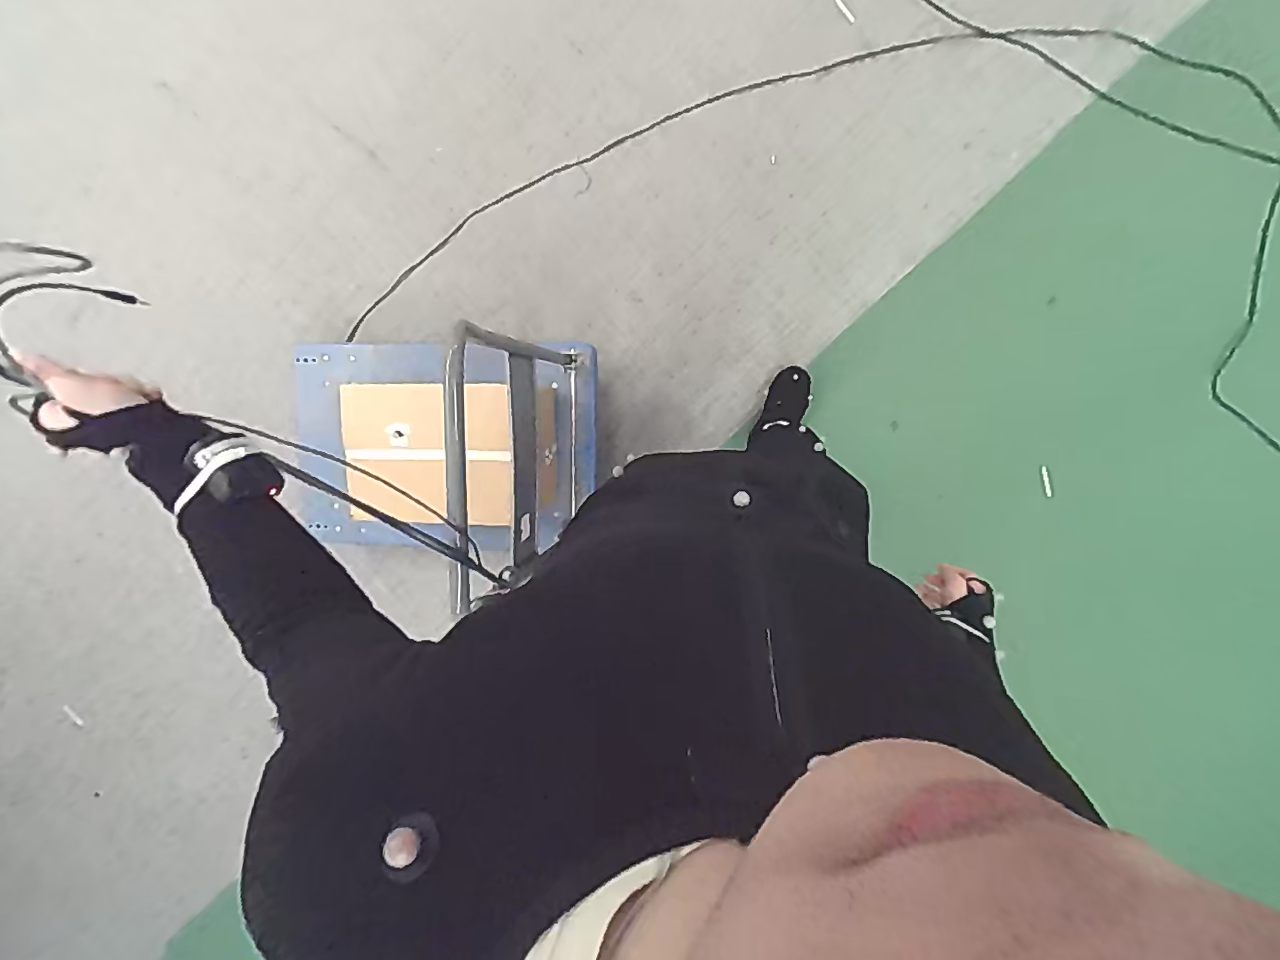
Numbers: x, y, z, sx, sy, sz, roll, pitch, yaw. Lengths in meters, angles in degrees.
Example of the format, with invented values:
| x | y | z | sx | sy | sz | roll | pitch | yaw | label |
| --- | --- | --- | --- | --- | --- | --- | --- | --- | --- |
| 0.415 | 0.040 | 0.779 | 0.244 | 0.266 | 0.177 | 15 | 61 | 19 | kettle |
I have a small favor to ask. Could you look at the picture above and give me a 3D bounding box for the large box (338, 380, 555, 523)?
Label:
| x | y | z | sx | sy | sz | roll | pitch | yaw | label |
| --- | --- | --- | --- | --- | --- | --- | --- | --- | --- |
| -0.449 | -0.083 | 1.334 | 0.408 | 0.320 | 0.320 | 1 | 98 | 8 | large box |
